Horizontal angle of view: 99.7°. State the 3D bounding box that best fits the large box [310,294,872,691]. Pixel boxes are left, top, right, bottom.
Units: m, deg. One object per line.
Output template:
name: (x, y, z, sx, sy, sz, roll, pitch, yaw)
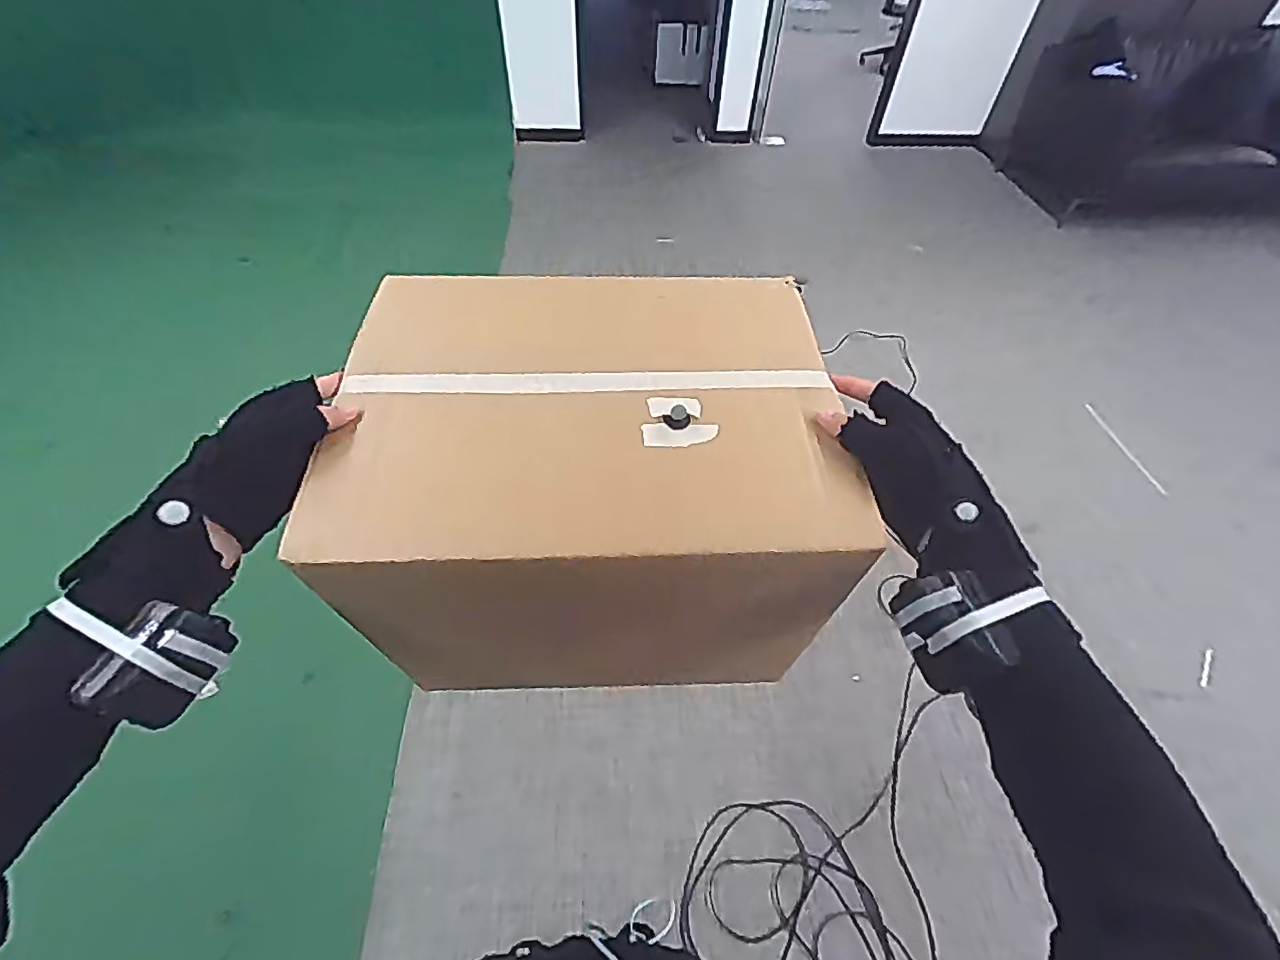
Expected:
large box: (-0.043, 0.021, 0.584, 0.408, 0.320, 0.320, 0, 53, -4)
